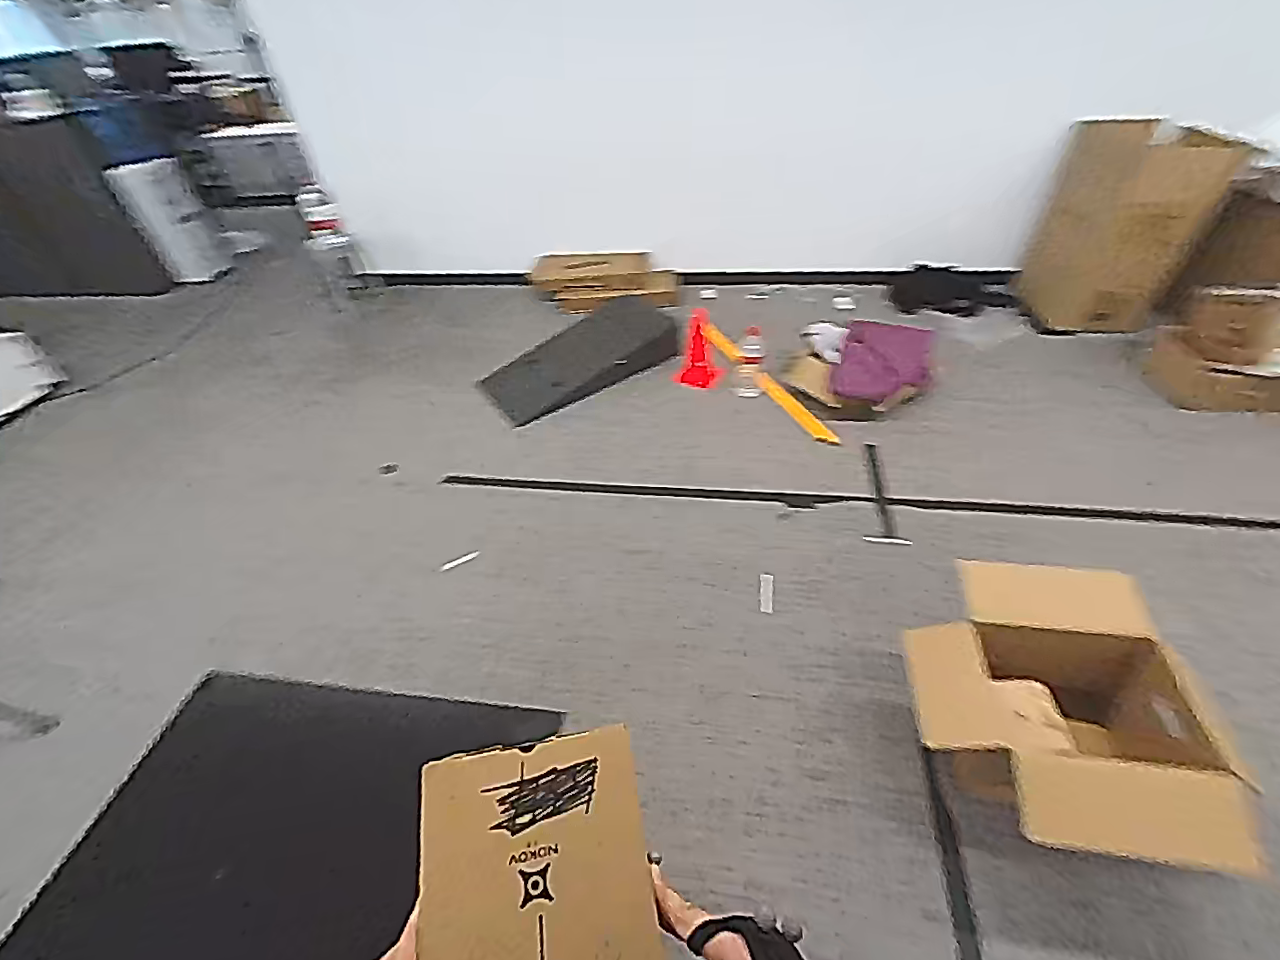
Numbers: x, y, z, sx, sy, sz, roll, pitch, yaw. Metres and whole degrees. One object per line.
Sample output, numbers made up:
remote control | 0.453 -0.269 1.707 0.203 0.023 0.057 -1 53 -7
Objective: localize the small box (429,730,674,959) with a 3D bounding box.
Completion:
small box | -0.071 0.335 0.458 0.168 0.176 0.179 -7 54 -7
